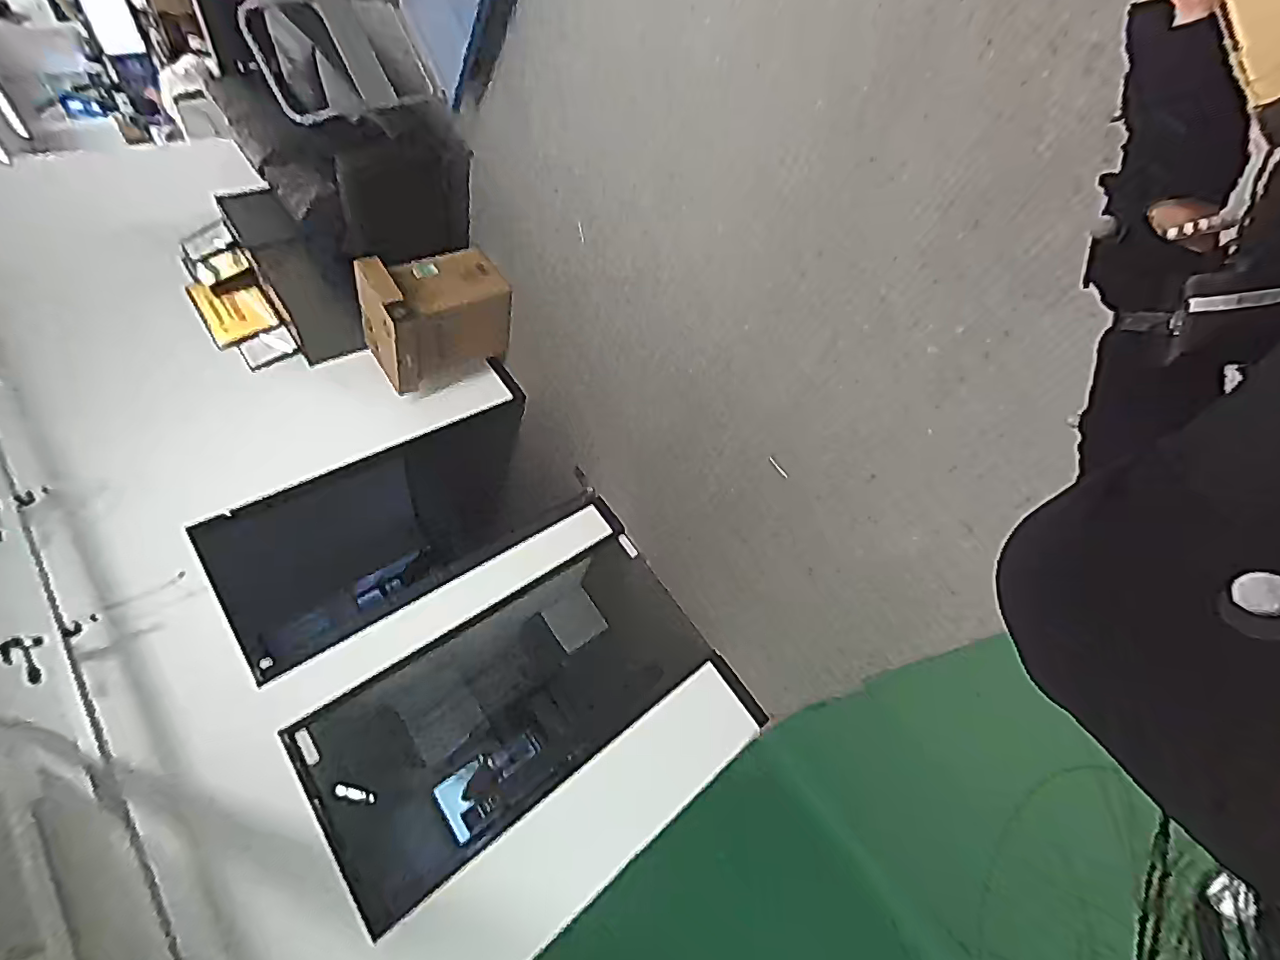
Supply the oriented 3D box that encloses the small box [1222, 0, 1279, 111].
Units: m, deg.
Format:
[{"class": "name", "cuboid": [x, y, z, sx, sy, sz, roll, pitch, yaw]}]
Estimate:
[{"class": "small box", "cuboid": [0.391, -0.307, 0.245, 0.179, 0.176, 0.168, -18, 91, 54]}]
